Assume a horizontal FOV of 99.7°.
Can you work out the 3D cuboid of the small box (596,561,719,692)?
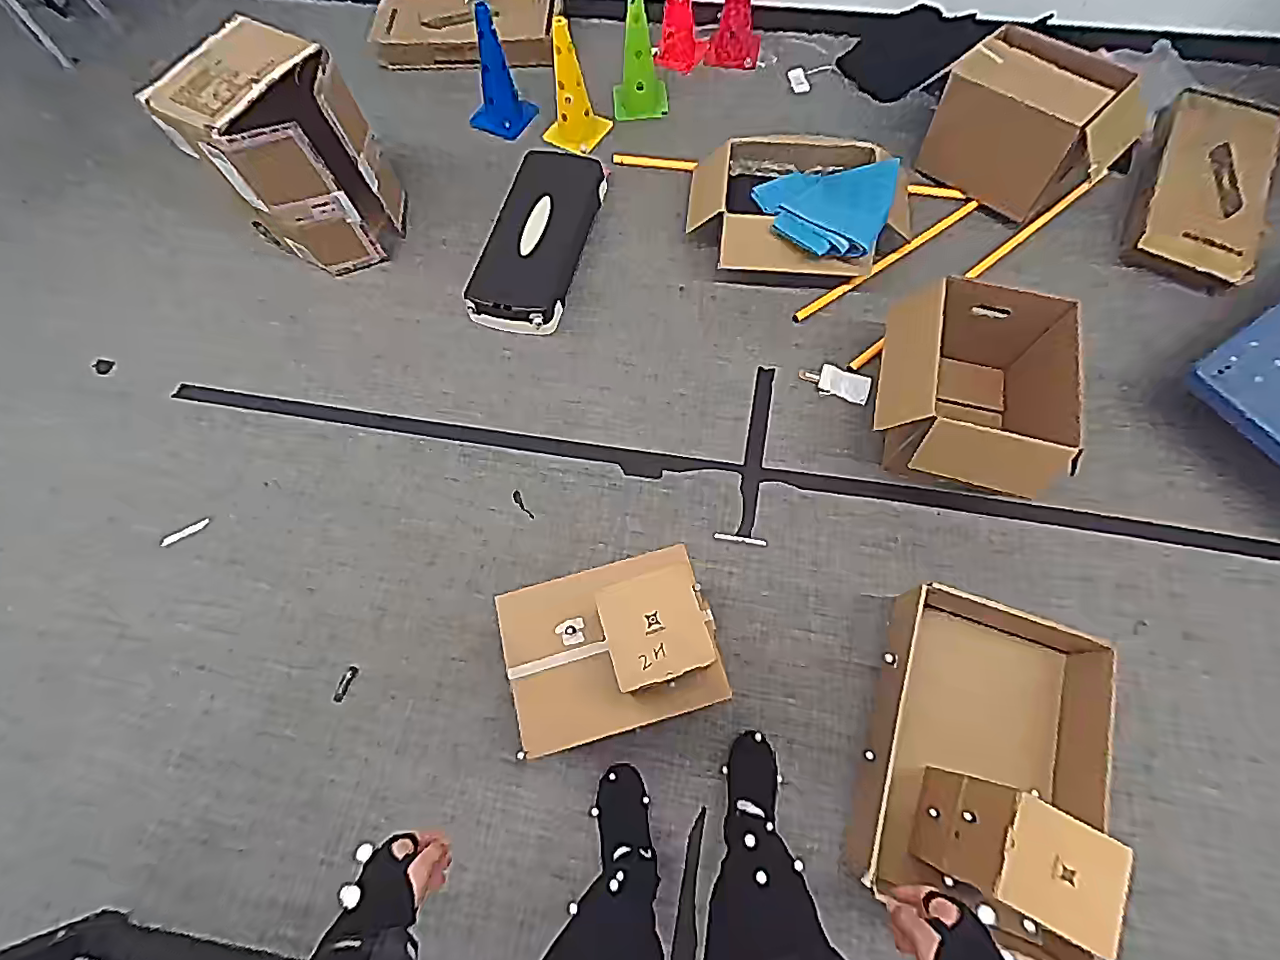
[{"bbox_3d":[0.029,0.266,0.961,0.168,0.176,0.179,-18,70,-3],"label":"small box"}]

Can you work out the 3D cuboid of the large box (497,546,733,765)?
[{"bbox_3d":[-0.048,0.379,1.185,0.408,0.320,0.320,-17,68,-3],"label":"large box"}]
